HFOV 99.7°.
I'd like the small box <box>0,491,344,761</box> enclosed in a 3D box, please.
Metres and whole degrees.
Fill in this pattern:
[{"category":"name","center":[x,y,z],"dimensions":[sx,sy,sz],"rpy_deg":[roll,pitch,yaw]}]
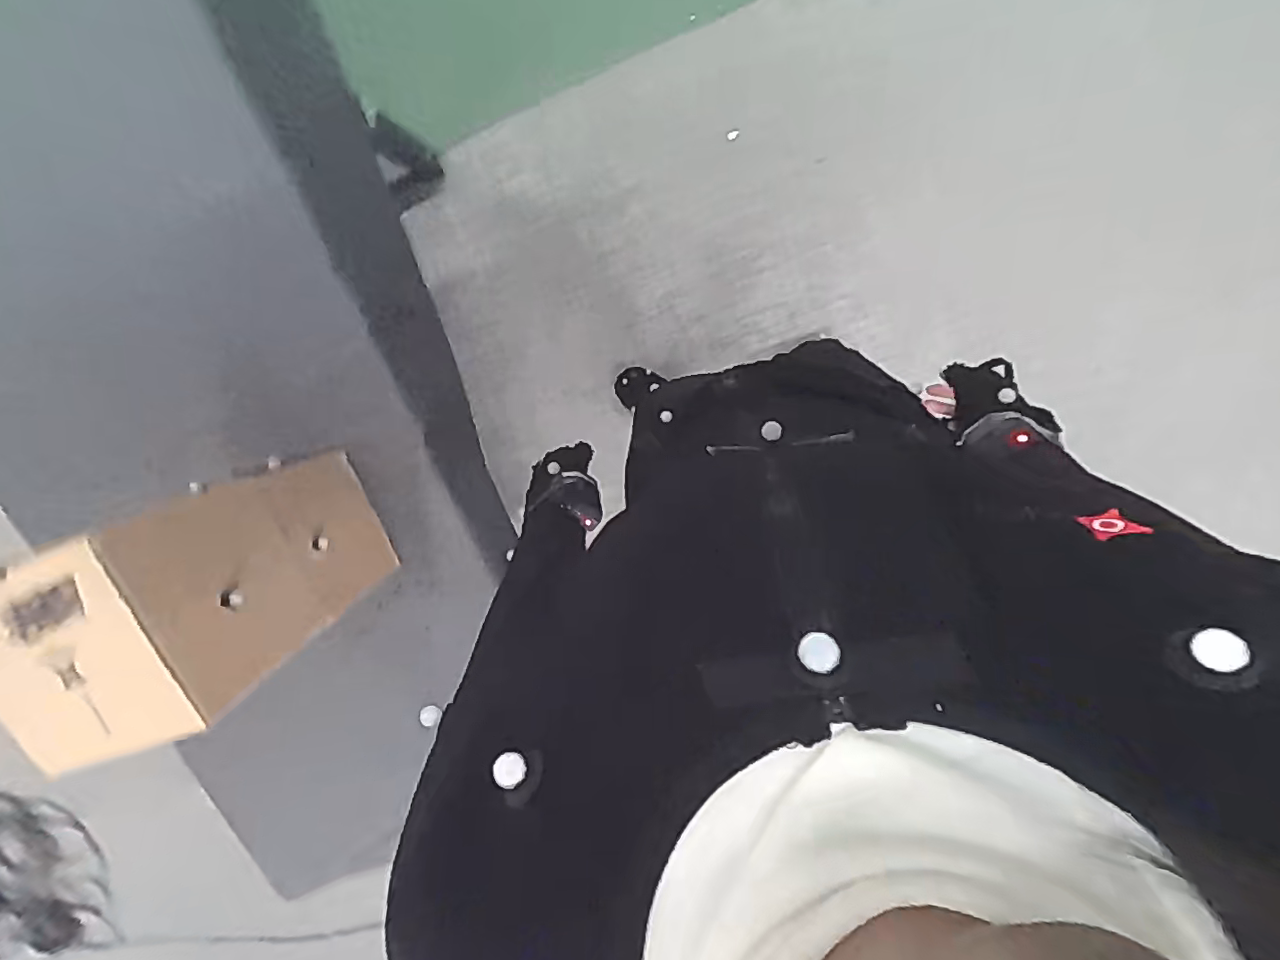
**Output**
[{"category":"small box","center":[-0.435,0.123,0.521],"dimensions":[0.168,0.176,0.179],"rpy_deg":[-19,104,10]}]

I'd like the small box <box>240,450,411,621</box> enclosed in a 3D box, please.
[{"category":"small box","center":[-0.426,0.081,0.680],"dimensions":[0.168,0.176,0.179],"rpy_deg":[-20,102,9]}]
